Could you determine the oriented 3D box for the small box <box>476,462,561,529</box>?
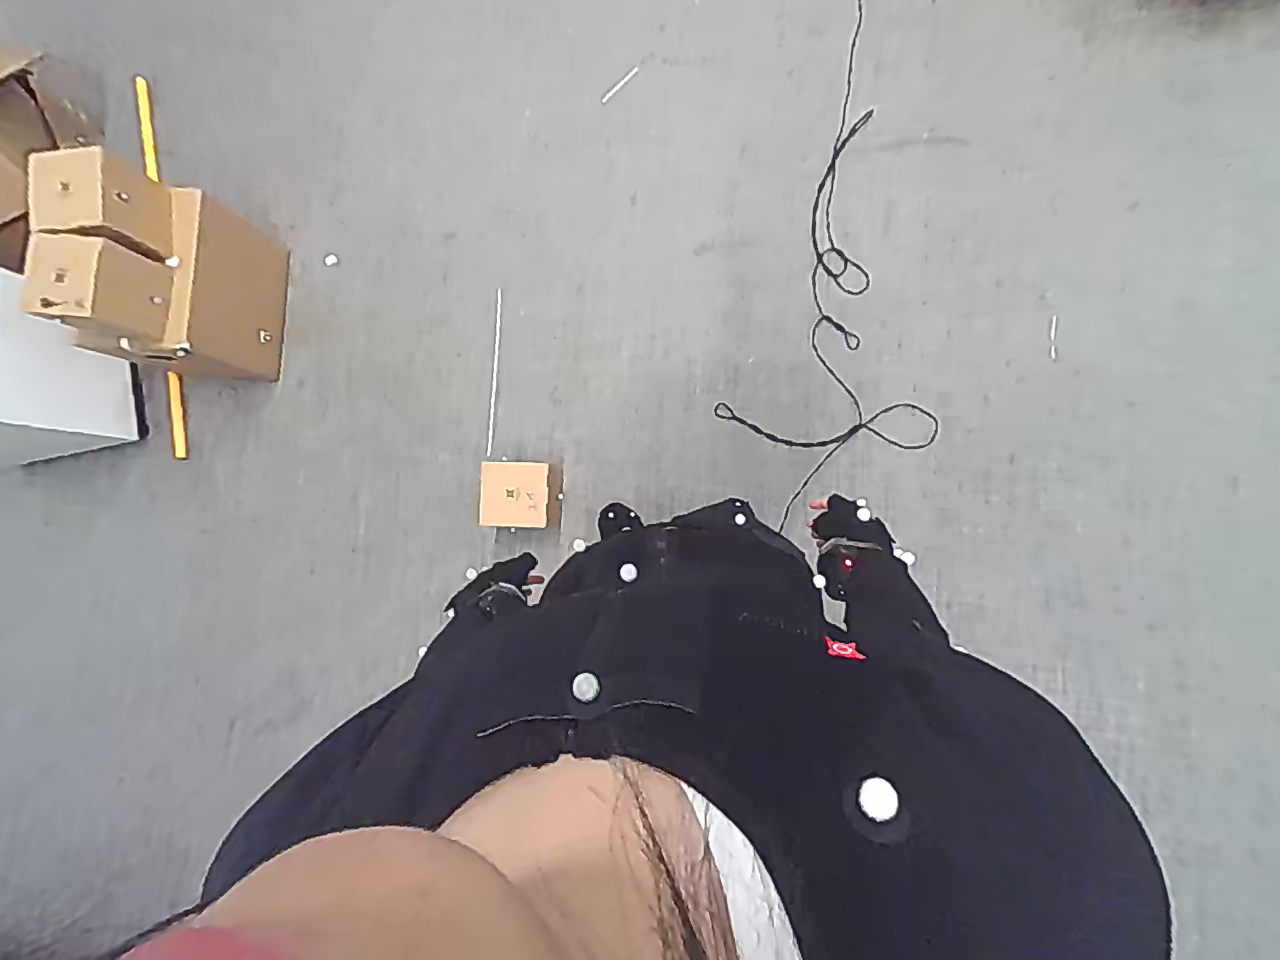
[{"bbox_3d":[-0.317,0.044,1.436,0.179,0.176,0.168,2,87,4],"label":"small box"}]
